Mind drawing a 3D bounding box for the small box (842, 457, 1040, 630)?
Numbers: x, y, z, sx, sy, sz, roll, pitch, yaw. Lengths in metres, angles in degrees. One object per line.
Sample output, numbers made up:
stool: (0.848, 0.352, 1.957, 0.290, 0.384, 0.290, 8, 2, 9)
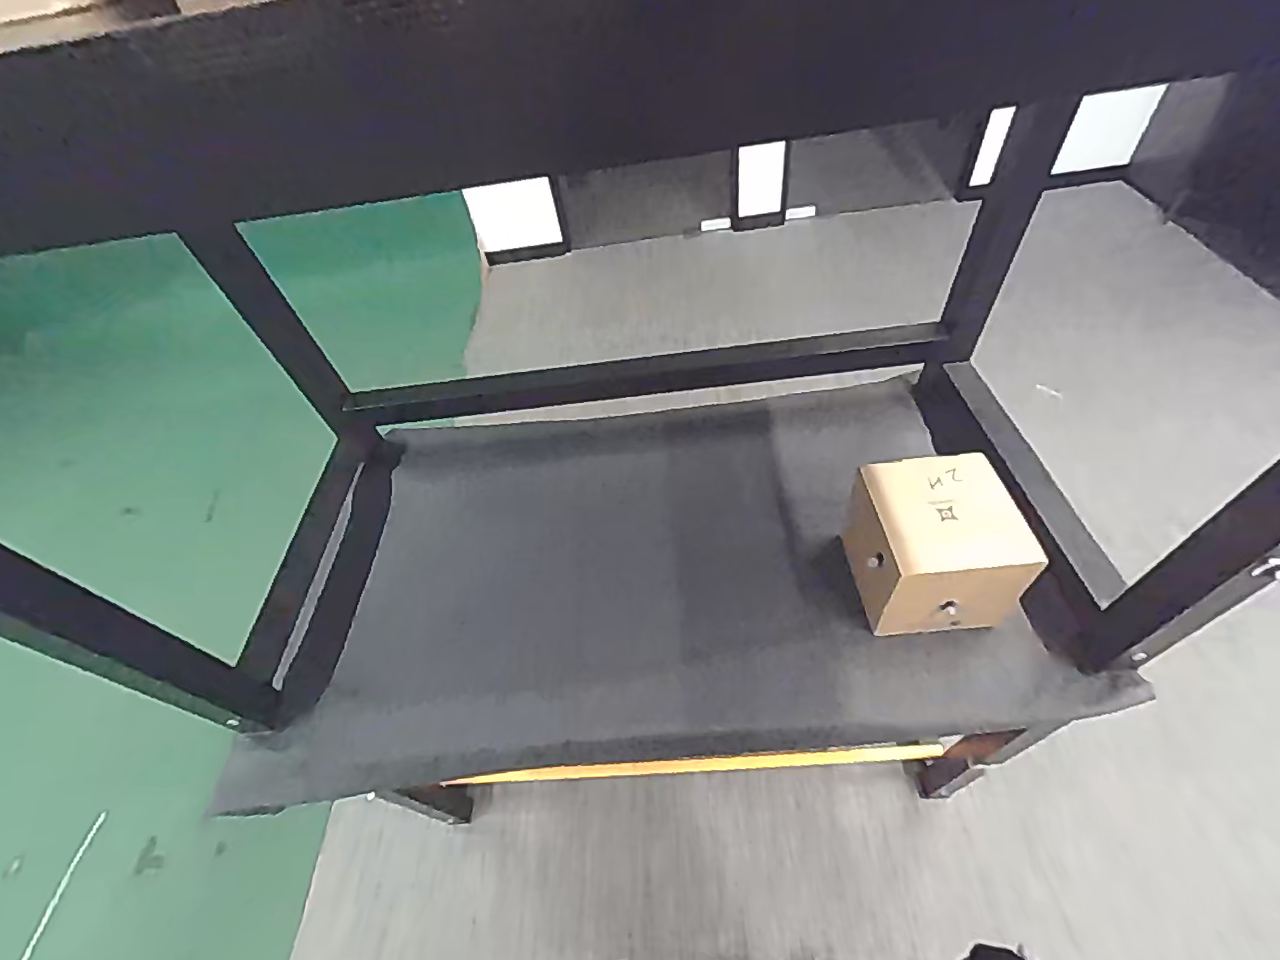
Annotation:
small box: (0.390, 0.094, 0.740, 0.168, 0.176, 0.179, -6, 49, 4)
